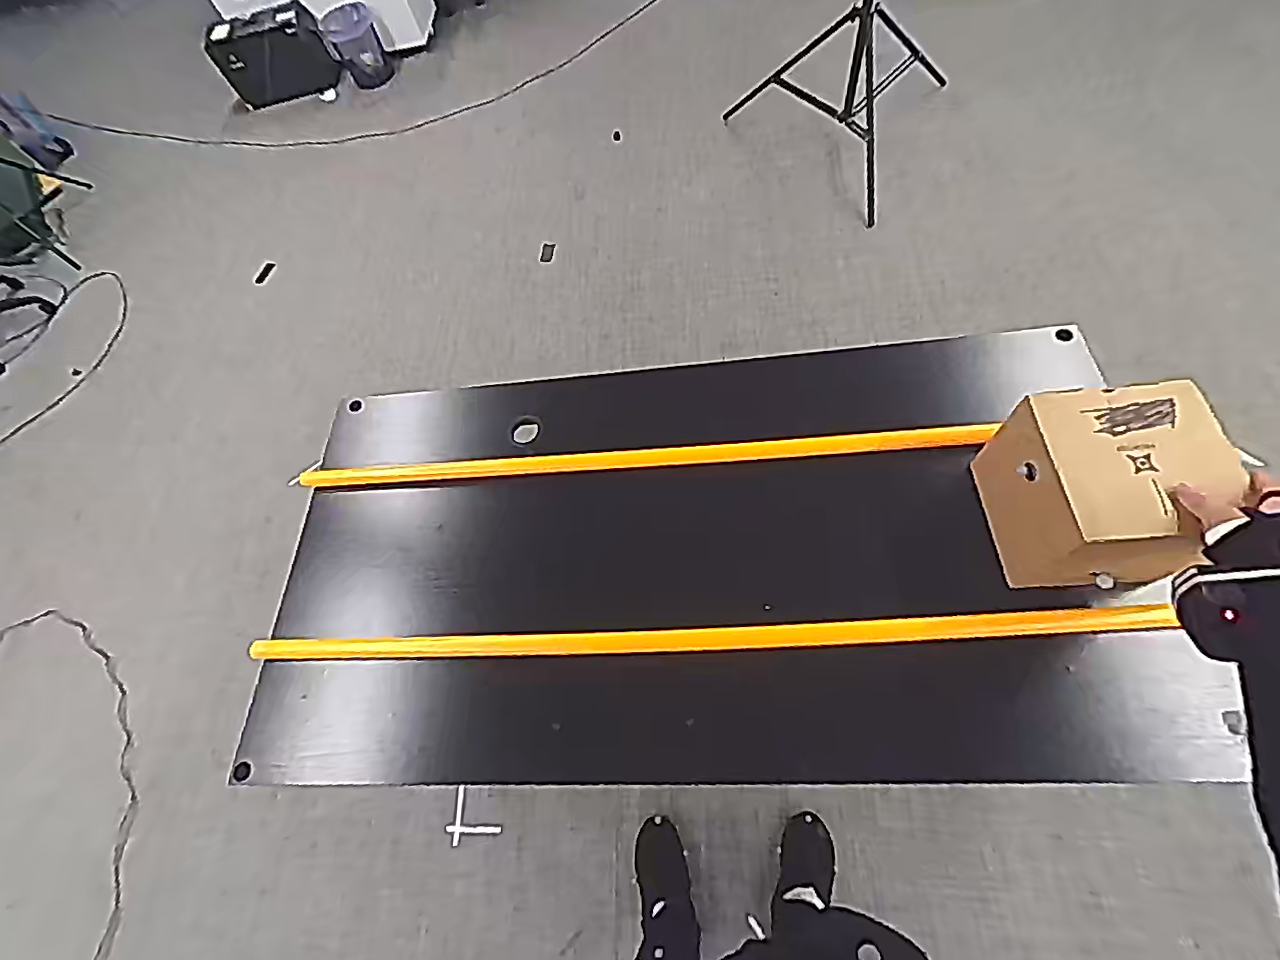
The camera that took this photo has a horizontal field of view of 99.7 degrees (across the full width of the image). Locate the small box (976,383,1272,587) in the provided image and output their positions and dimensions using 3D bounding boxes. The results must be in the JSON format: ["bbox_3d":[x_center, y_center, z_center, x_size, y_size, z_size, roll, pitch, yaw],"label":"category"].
[{"bbox_3d":[0.519,0.014,0.620,0.168,0.176,0.179,-4,63,9],"label":"small box"}]
